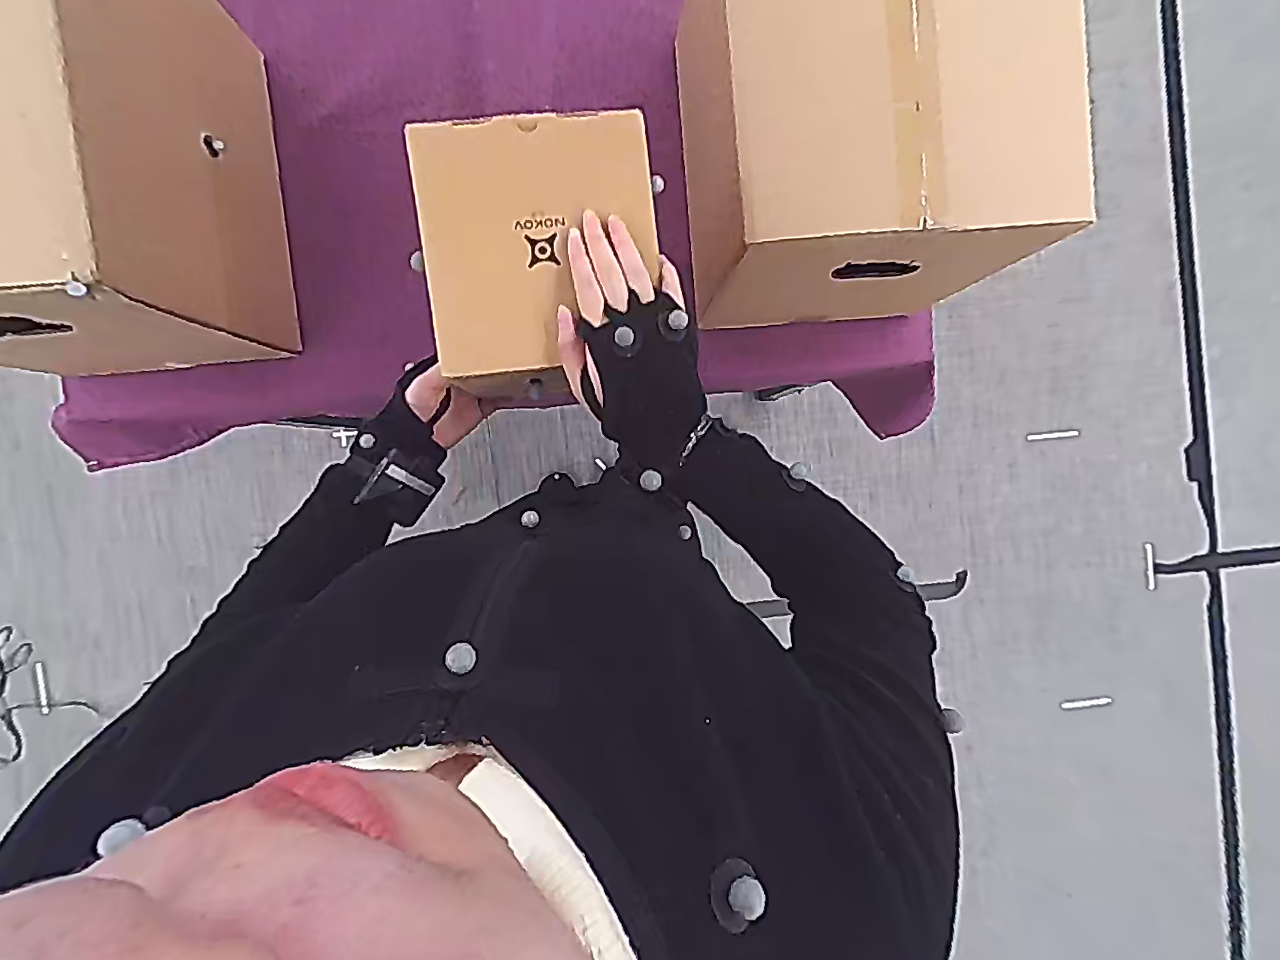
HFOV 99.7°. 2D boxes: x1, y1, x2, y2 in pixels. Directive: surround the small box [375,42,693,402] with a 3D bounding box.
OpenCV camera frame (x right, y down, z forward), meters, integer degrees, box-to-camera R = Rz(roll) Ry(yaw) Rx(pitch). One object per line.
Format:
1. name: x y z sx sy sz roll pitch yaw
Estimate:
1. small box: -0.071 -0.182 0.420 0.179 0.176 0.168 -12 75 12
